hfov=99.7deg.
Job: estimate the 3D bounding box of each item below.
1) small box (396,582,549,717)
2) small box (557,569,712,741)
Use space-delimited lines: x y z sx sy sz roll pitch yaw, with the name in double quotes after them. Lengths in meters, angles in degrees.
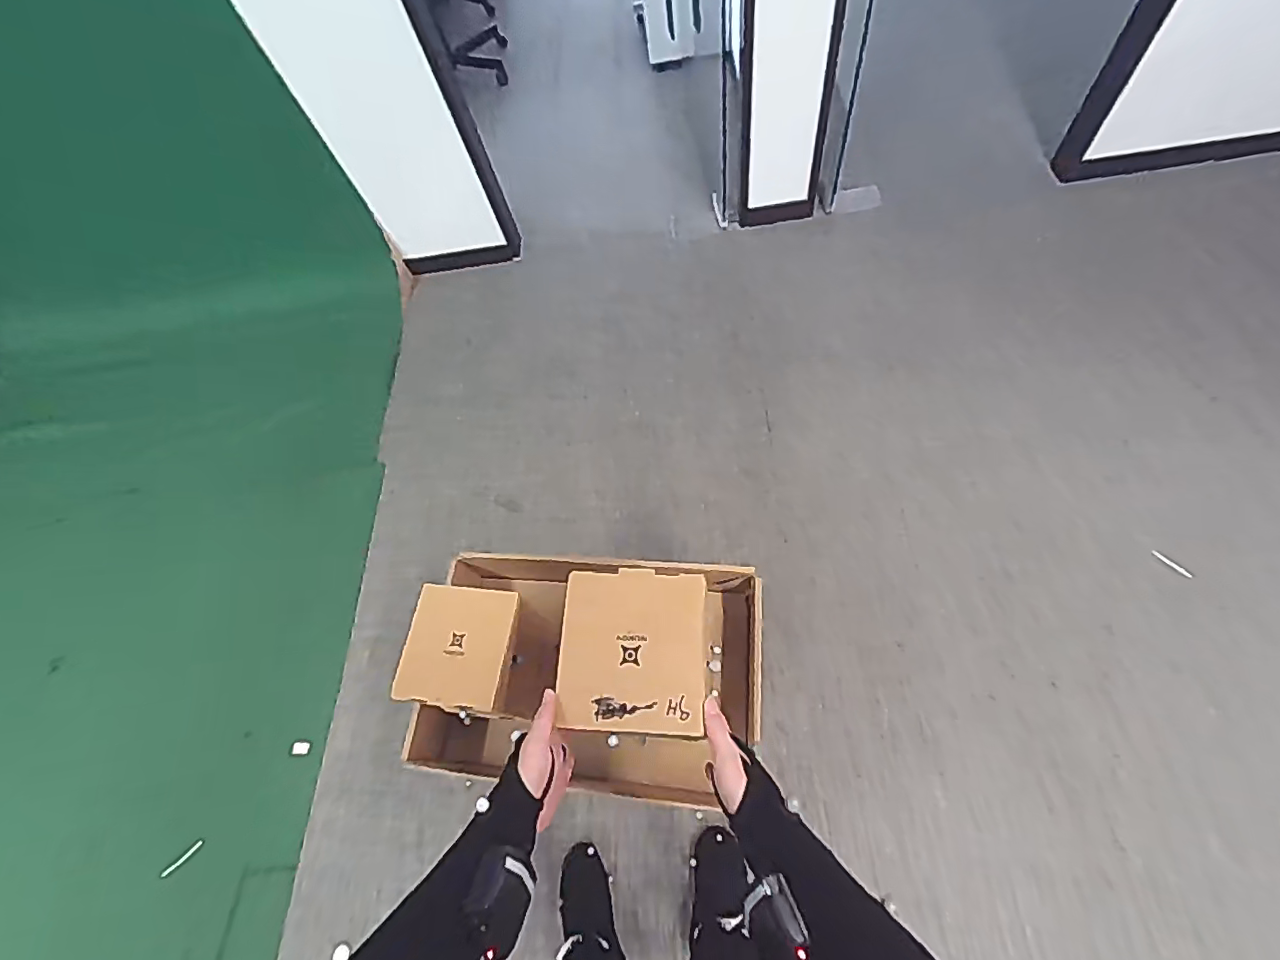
-0.261 0.283 0.892 0.168 0.176 0.179 3 65 11 "small box"
0.006 0.223 0.678 0.168 0.176 0.179 0 64 8 "small box"
